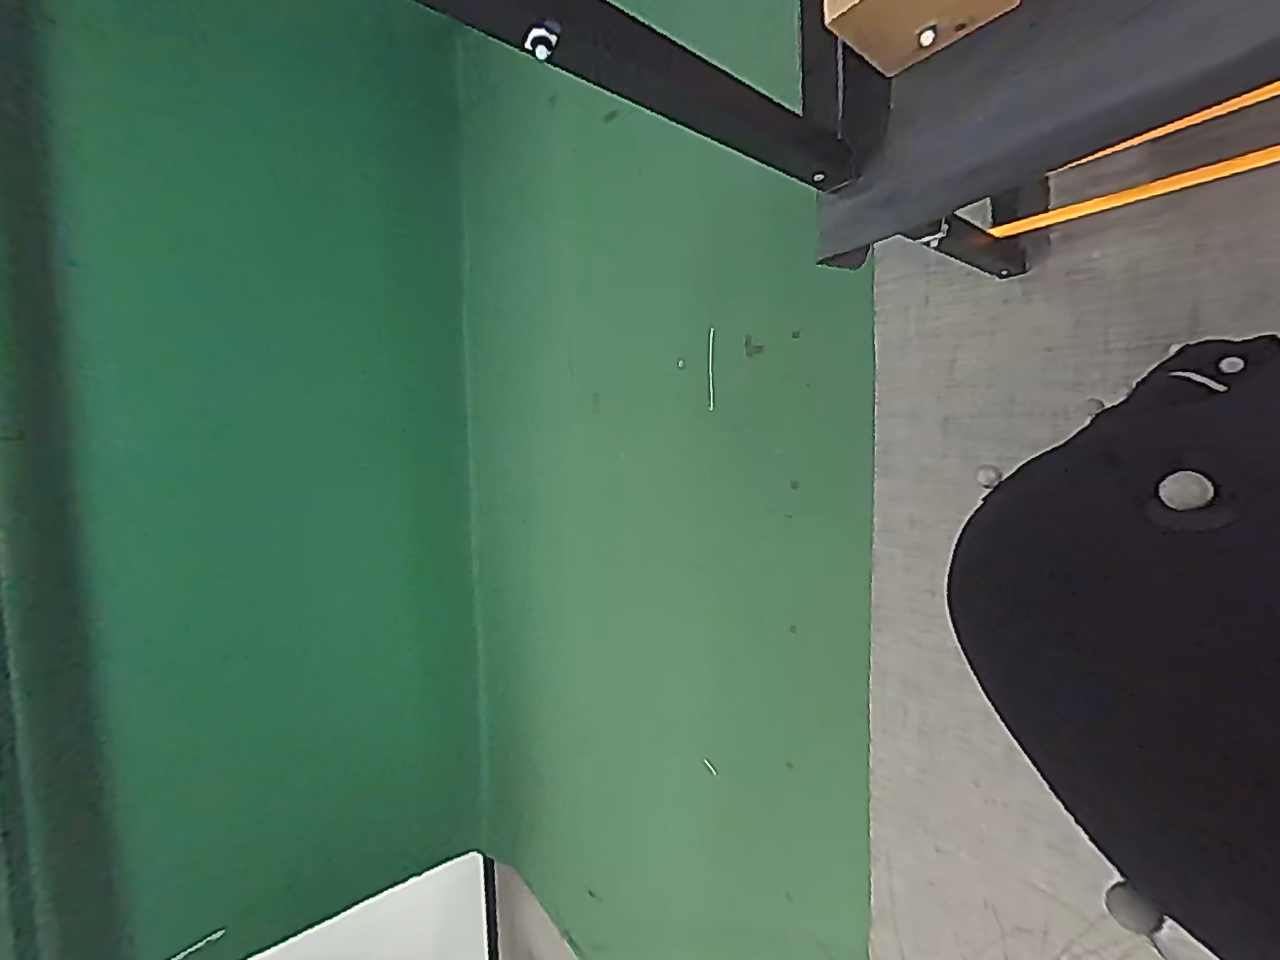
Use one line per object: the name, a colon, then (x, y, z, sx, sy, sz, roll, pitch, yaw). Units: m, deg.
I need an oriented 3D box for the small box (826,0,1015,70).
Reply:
small box: (0.348, -0.665, 0.665, 0.168, 0.176, 0.179, 2, 95, 51)
